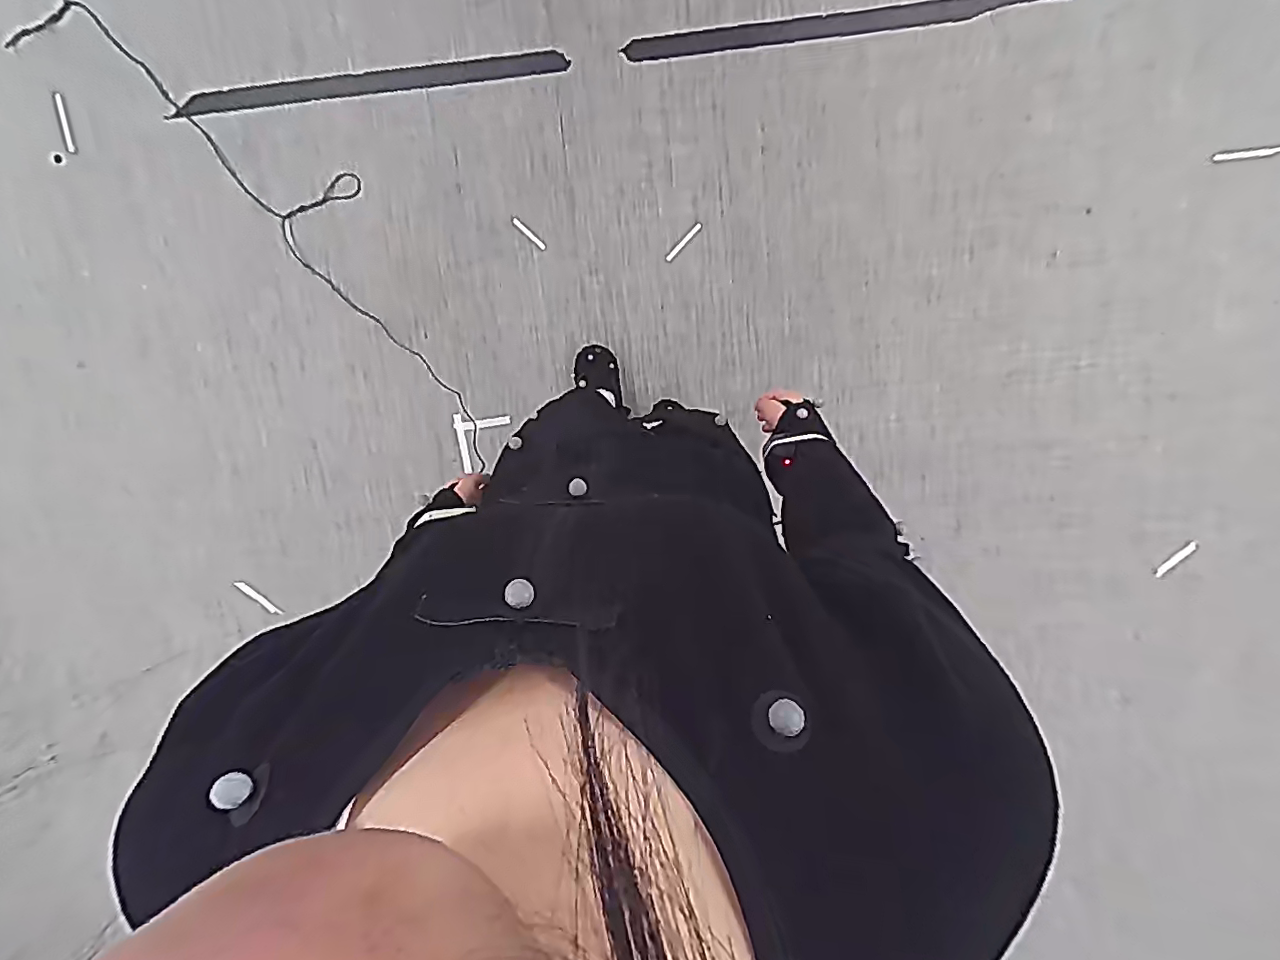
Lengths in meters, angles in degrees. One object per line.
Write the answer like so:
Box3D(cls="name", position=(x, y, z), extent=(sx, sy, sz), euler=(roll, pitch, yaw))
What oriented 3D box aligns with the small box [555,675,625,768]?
Box3D(cls="small box", position=(-0.136, 0.687, 1.548), extent=(0.168, 0.176, 0.179), euler=(-7, 101, 3))
